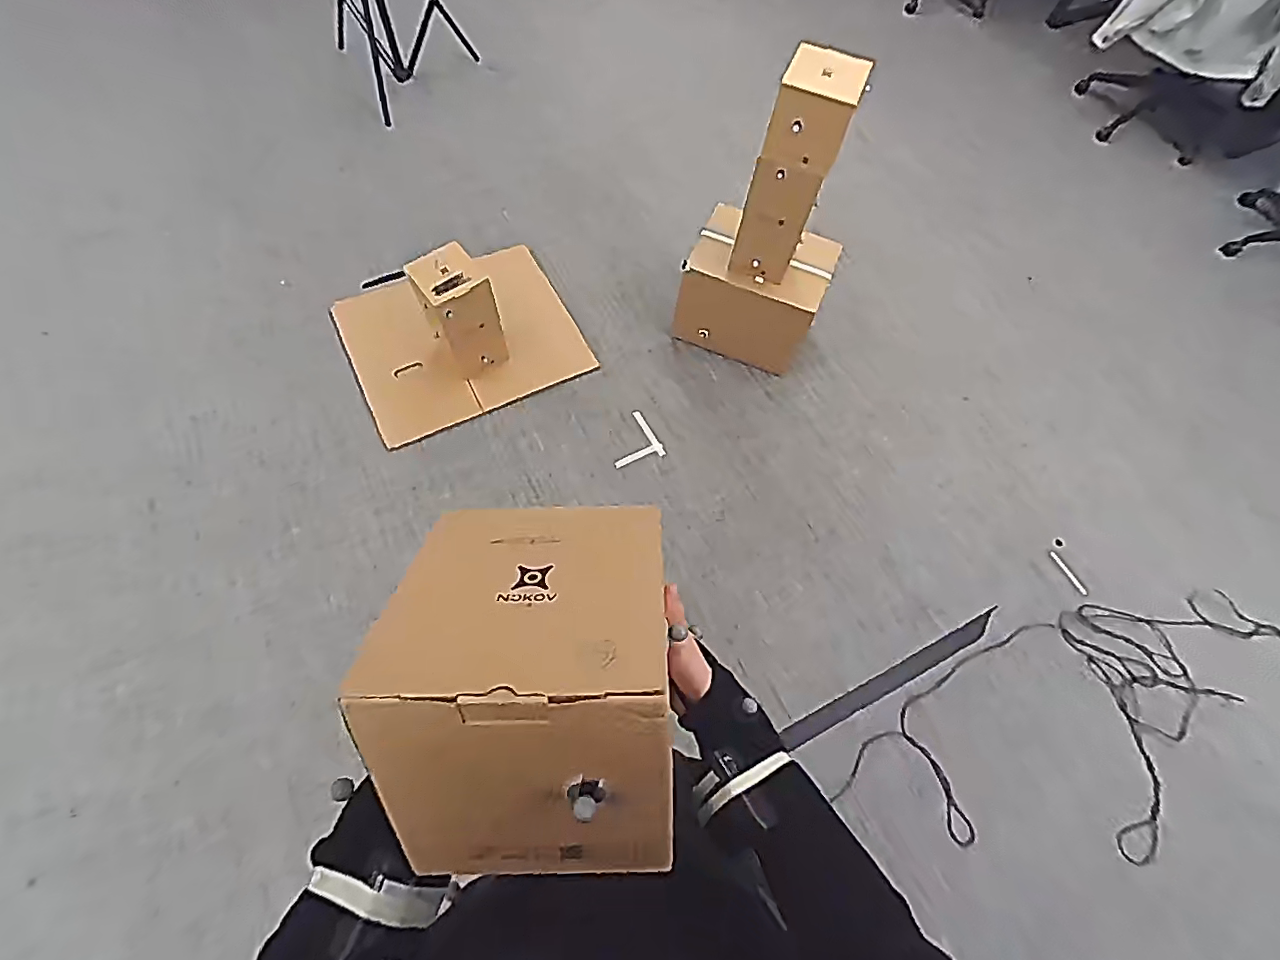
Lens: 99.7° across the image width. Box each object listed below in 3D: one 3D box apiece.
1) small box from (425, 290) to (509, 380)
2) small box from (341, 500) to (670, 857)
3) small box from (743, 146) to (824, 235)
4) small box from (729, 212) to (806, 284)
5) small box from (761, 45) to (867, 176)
[{"bbox_3d":[-0.529,-0.443,1.671,0.168,0.176,0.179,-34,72,-16],"label":"small box"},{"bbox_3d":[-0.065,0.131,0.376,0.168,0.176,0.179,-1,29,0],"label":"small box"},{"bbox_3d":[0.375,-0.767,1.378,0.168,0.176,0.179,21,64,6],"label":"small box"},{"bbox_3d":[0.362,-0.694,1.524,0.168,0.176,0.179,21,66,6],"label":"small box"},{"bbox_3d":[0.388,-0.834,1.229,0.168,0.176,0.179,21,65,6],"label":"small box"}]
